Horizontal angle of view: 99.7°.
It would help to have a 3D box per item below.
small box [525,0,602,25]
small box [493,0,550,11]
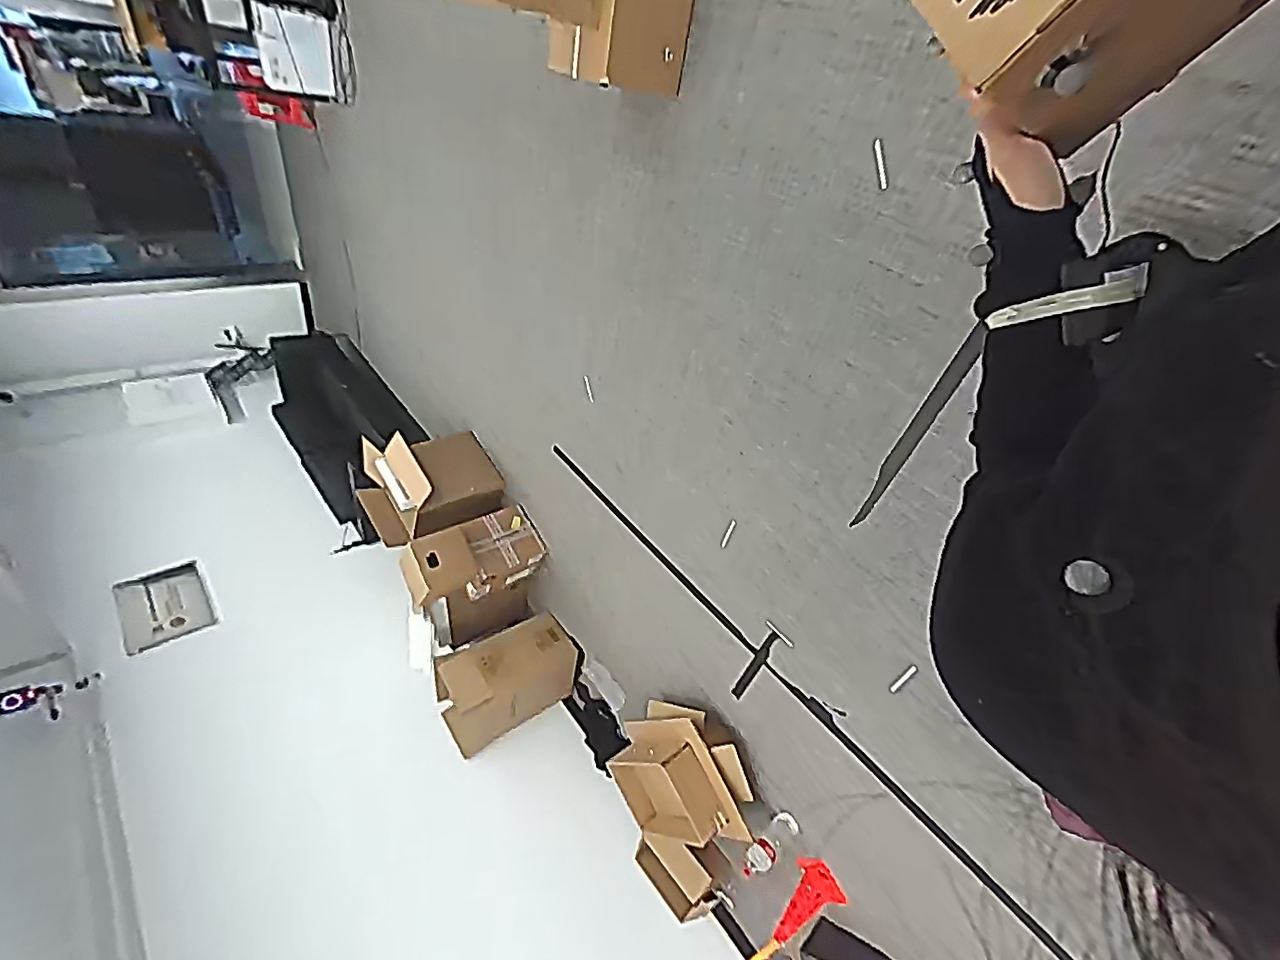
[{"bbox_3d":[-0.218,-1.391,1.501,0.179,0.176,0.168,40,136,31],"label":"small box"},{"bbox_3d":[-0.334,-1.343,1.399,0.179,0.176,0.168,40,134,33],"label":"small box"}]
